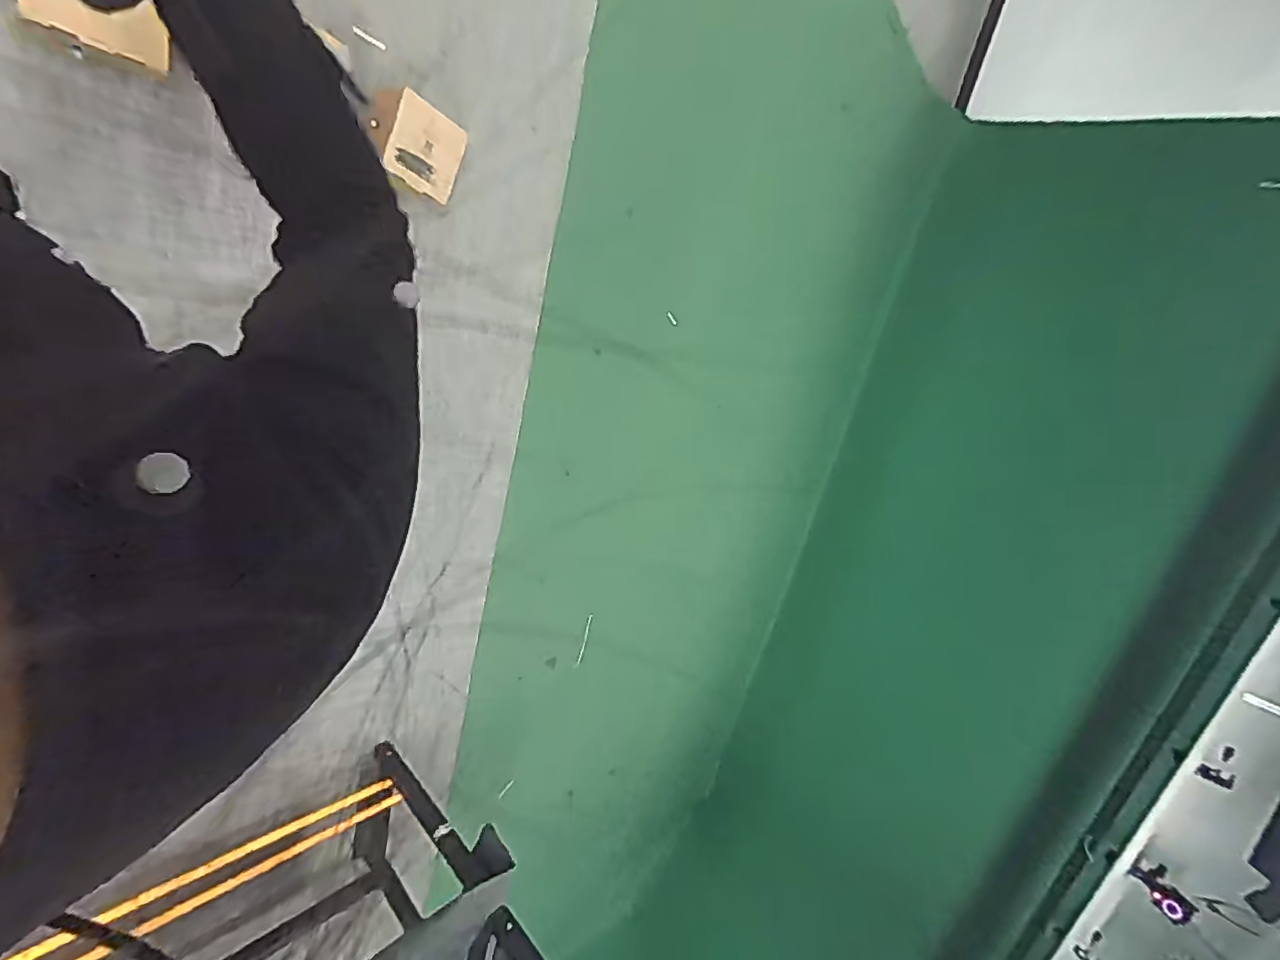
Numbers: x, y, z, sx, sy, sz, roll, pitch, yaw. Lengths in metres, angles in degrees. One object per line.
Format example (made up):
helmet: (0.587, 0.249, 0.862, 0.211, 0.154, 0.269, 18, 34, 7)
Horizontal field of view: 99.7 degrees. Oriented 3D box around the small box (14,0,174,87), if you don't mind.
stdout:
small box: (-0.867, -0.763, 0.858, 0.168, 0.176, 0.179, -4, 115, -50)
